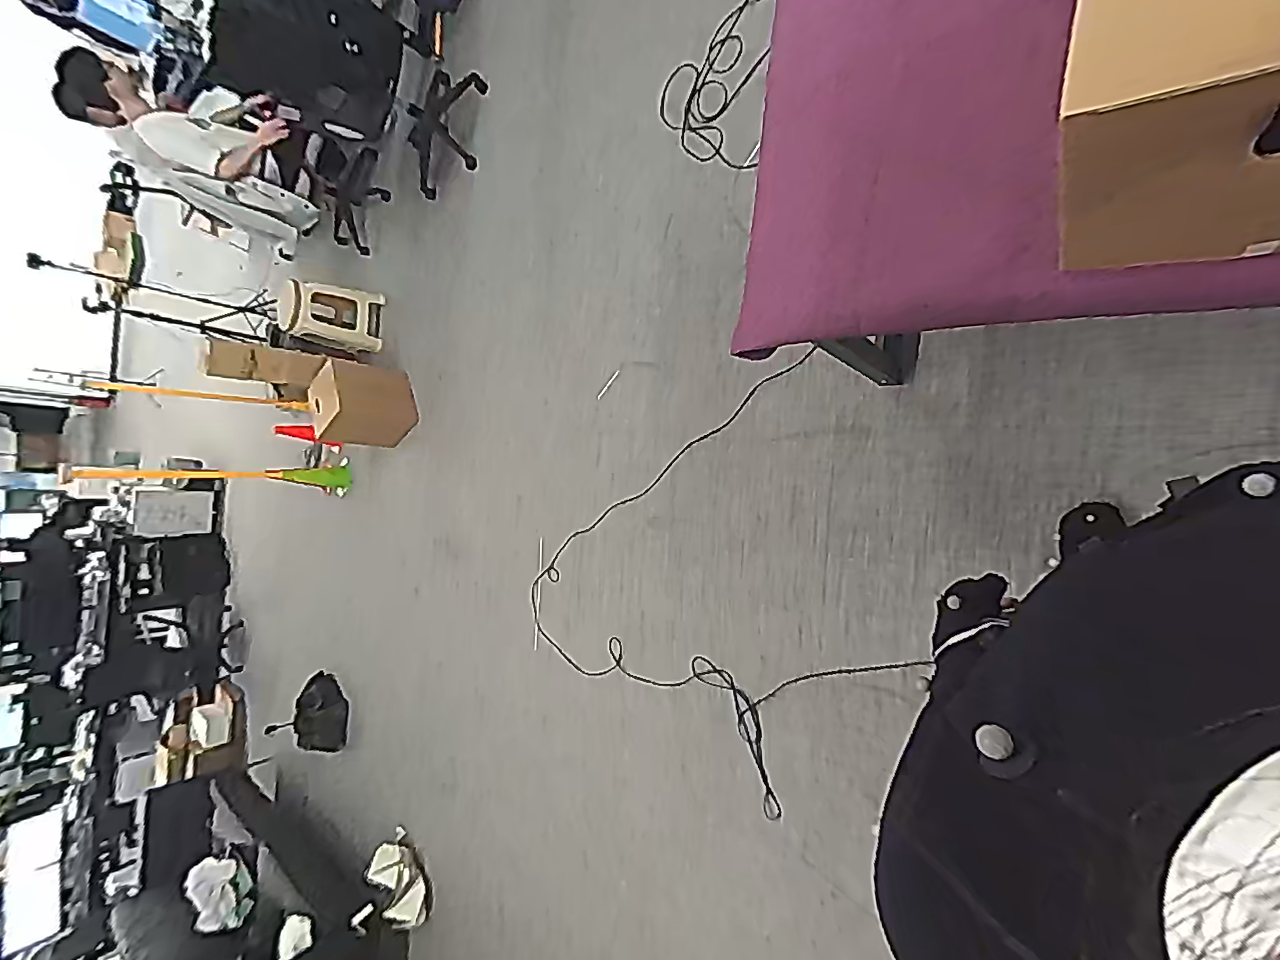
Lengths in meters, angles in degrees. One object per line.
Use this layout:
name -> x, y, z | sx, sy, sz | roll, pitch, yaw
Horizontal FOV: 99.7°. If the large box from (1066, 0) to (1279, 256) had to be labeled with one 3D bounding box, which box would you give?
large box -> 0.552, -0.441, 0.414 | 0.320, 0.320, 0.408 | 10, 94, 38
